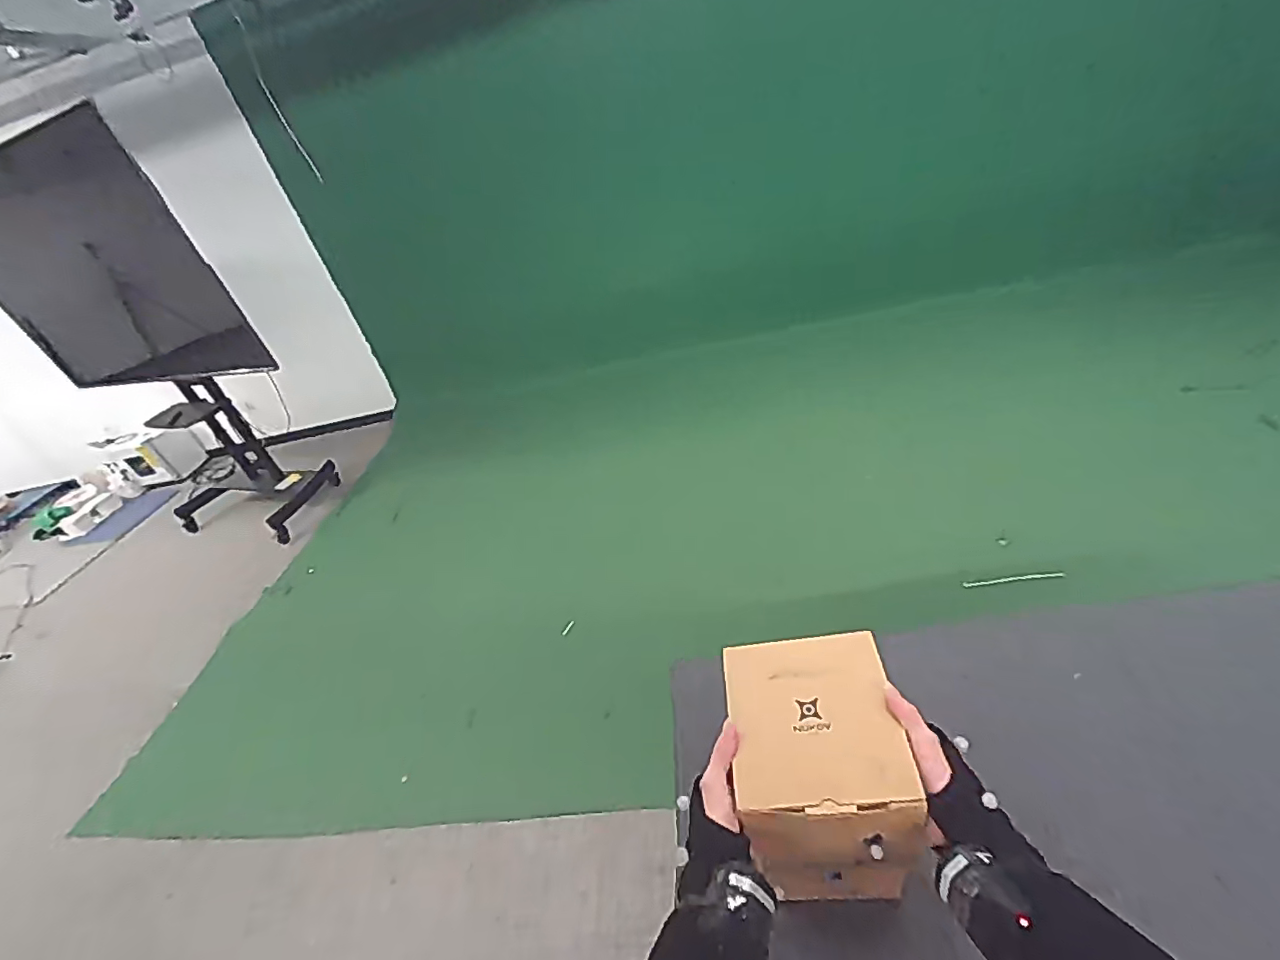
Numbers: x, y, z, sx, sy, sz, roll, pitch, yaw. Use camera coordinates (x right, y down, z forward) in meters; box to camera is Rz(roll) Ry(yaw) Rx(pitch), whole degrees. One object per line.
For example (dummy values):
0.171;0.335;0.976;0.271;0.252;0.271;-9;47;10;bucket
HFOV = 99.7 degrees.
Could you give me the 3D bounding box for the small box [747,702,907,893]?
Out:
0.243;0.428;0.725;0.168;0.176;0.179;-9;35;9;small box
